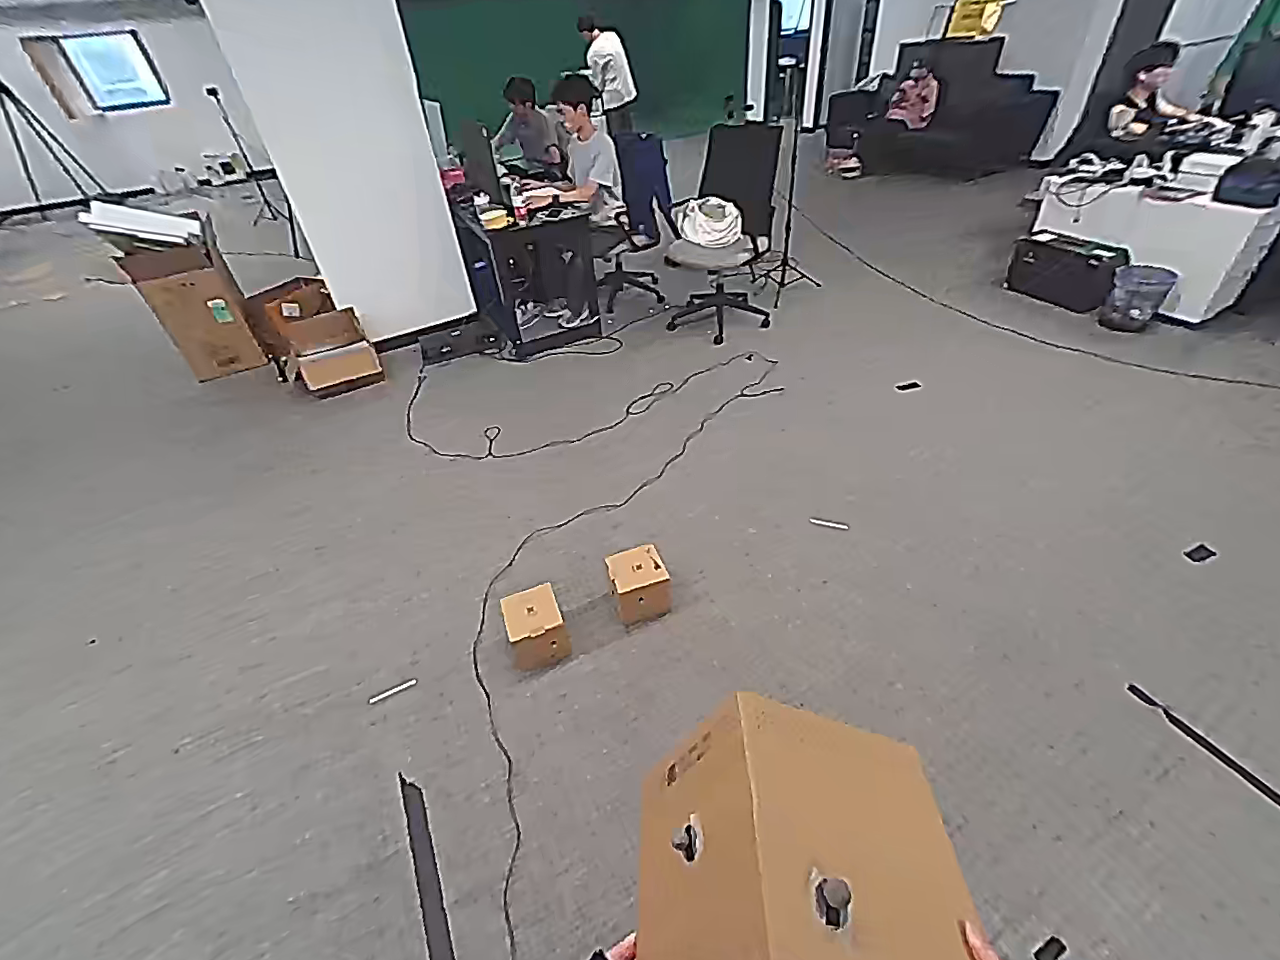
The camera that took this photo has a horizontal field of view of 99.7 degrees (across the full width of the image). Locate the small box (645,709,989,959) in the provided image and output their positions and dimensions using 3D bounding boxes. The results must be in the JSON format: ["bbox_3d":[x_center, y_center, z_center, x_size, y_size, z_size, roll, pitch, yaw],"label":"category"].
[{"bbox_3d":[0.111,0.300,0.408,0.179,0.168,0.176,22,34,-14],"label":"small box"}]

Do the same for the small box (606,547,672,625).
[{"bbox_3d":[-0.001,0.358,1.805,0.179,0.176,0.168,-16,41,-11],"label":"small box"}]

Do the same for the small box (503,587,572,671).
[{"bbox_3d":[-0.321,0.475,1.706,0.168,0.176,0.179,-17,41,-14],"label":"small box"}]
